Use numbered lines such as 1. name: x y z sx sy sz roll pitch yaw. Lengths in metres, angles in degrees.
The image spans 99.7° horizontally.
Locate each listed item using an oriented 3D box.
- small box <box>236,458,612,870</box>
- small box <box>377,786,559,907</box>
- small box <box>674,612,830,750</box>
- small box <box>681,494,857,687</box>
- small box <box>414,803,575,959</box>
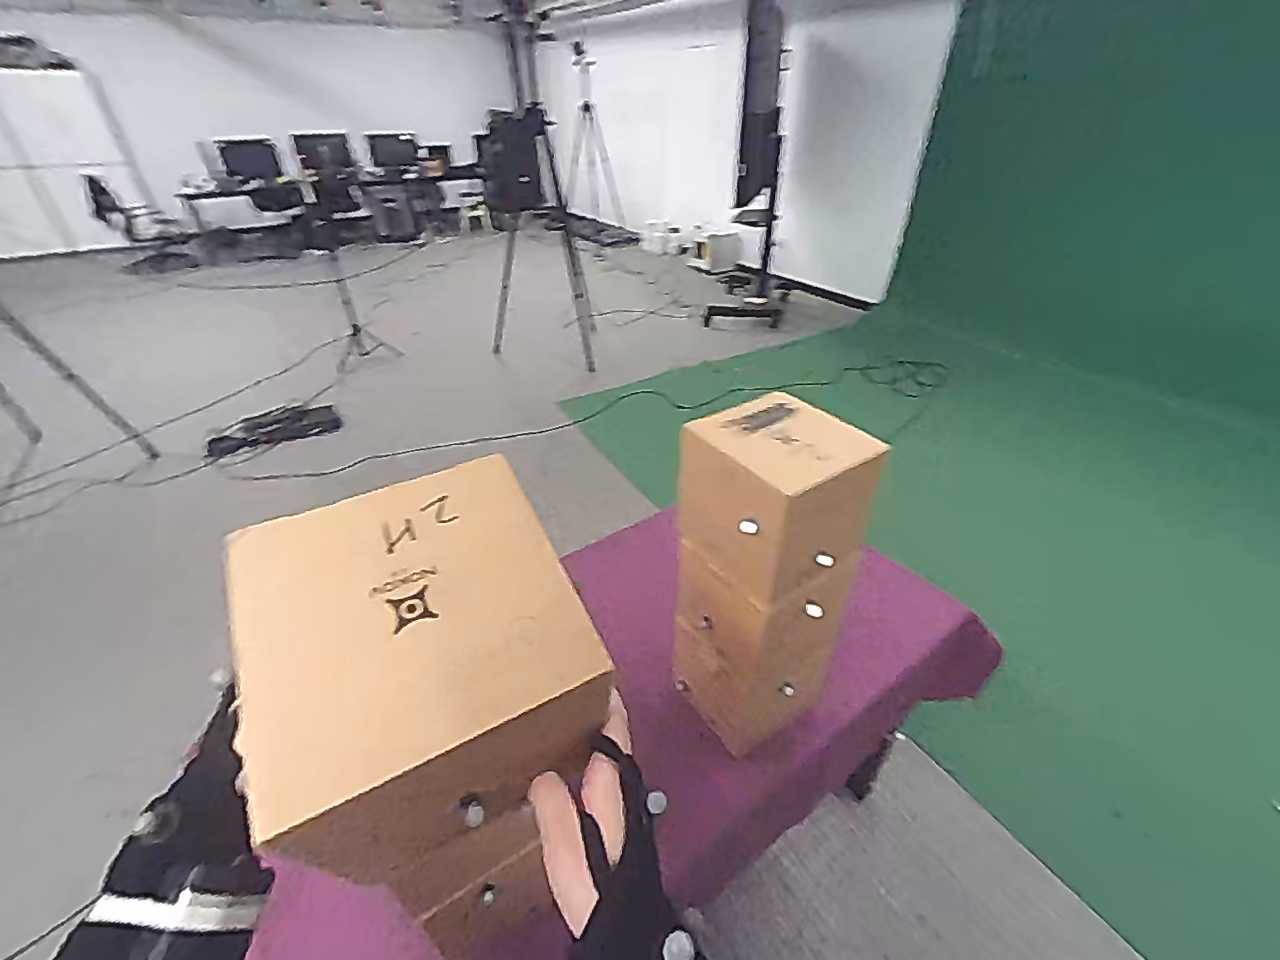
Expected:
1. small box: -0.129 0.121 0.354 0.168 0.176 0.179 -19 53 -22
2. small box: -0.196 0.296 0.576 0.179 0.176 0.168 -21 39 -25
3. small box: 0.170 0.287 0.863 0.179 0.176 0.168 -21 40 -27
4. small box: 0.171 0.153 0.770 0.179 0.176 0.168 -23 41 -27
5. small box: -0.194 0.430 0.669 0.168 0.176 0.179 -21 39 -25
